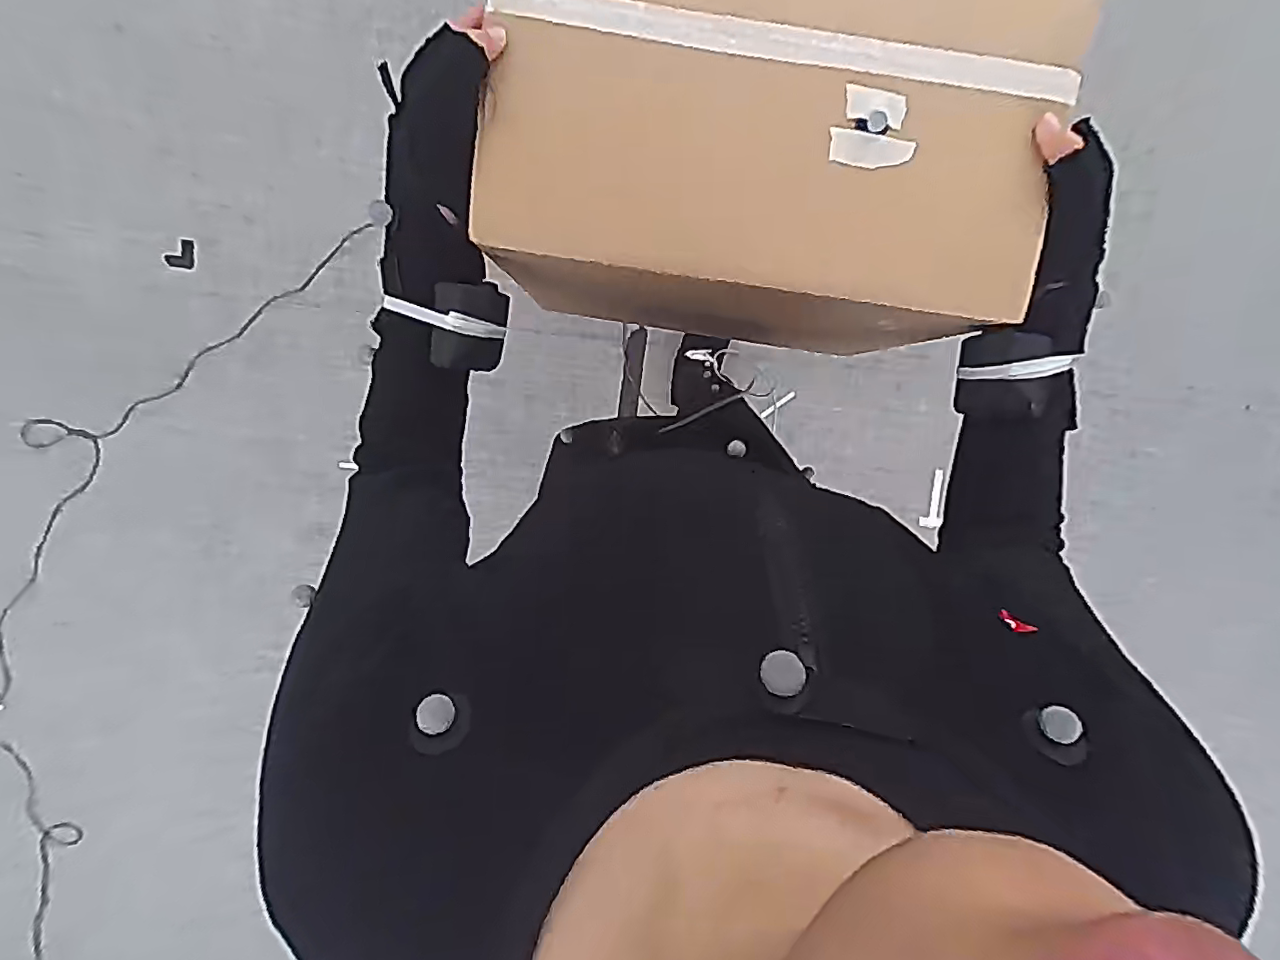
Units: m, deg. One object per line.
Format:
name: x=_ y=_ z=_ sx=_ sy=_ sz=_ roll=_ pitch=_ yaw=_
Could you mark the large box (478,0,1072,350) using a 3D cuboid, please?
large box: x=0.089 y=-0.317 z=0.526 sx=0.408 sy=0.320 sz=0.320 roll=8 pitch=100 yaw=-3
